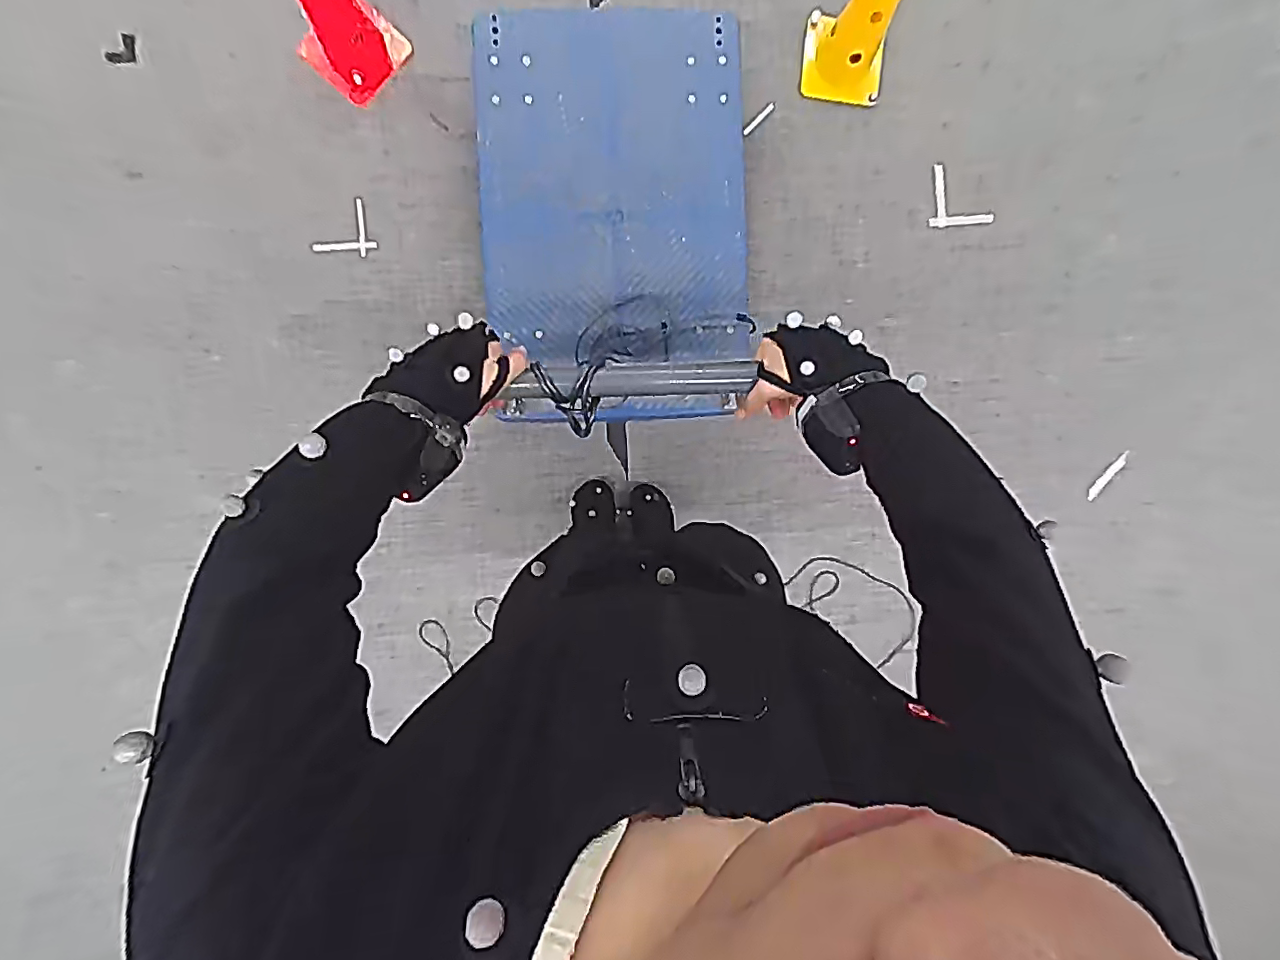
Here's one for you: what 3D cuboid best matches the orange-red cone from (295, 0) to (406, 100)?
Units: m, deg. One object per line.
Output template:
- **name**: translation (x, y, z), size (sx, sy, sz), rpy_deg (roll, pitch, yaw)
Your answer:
- **orange-red cone**: translation (-0.665, -1.019, 1.103), size (0.198, 0.360, 0.199), rpy_deg (43, 88, -5)
